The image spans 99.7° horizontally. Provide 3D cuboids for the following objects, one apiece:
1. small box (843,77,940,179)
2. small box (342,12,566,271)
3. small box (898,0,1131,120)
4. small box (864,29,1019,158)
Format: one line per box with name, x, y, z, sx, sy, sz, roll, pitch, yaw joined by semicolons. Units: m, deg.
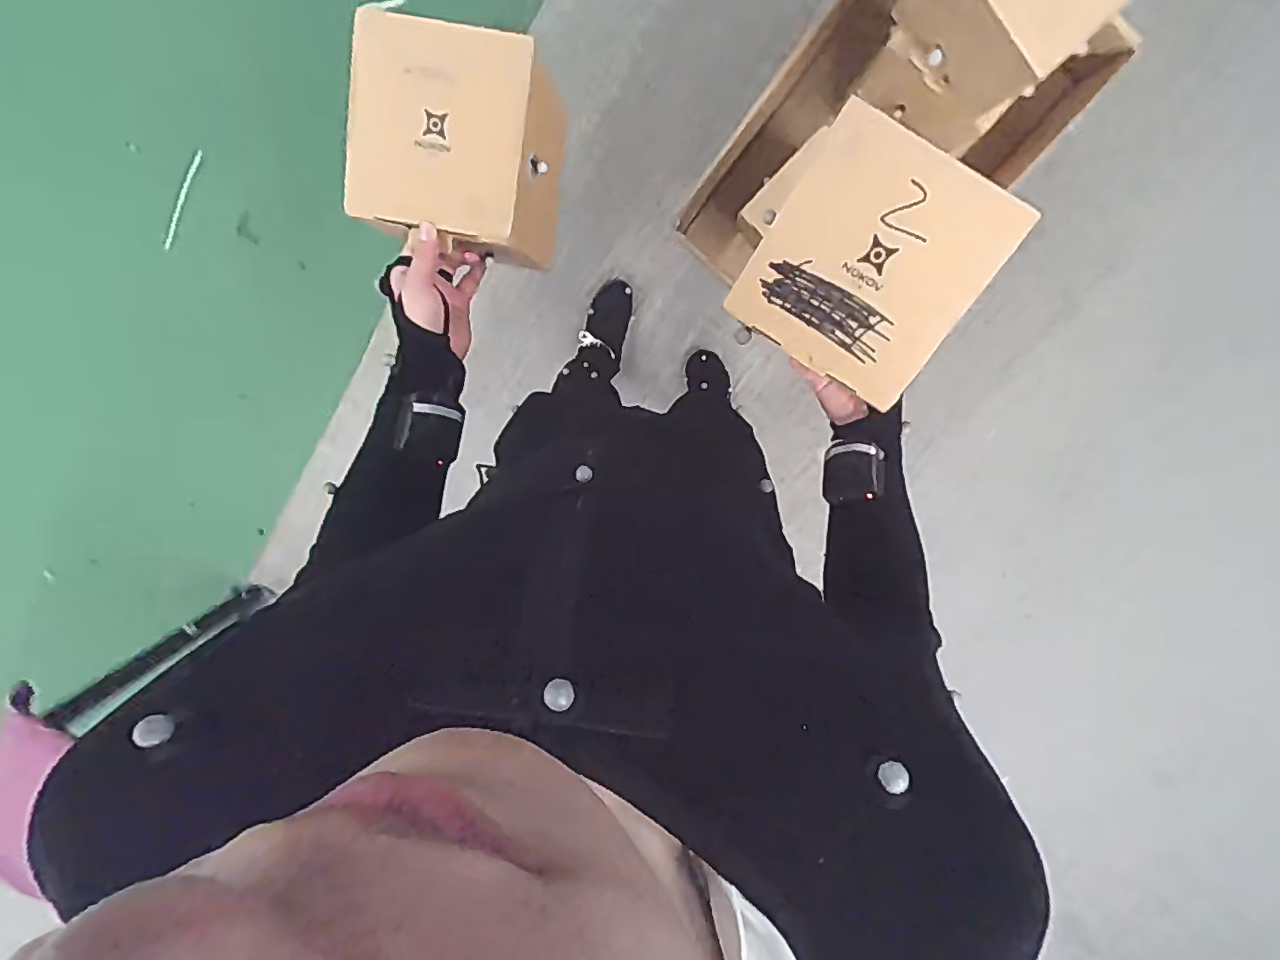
small box;0.454;-0.623;0.863;0.168;0.176;0.179;39;110;-5
small box;-0.183;-0.334;0.573;0.168;0.176;0.179;11;102;2
small box;0.405;-0.523;0.557;0.179;0.176;0.168;-40;99;20
small box;0.429;-0.570;0.712;0.168;0.176;0.179;38;110;-5
